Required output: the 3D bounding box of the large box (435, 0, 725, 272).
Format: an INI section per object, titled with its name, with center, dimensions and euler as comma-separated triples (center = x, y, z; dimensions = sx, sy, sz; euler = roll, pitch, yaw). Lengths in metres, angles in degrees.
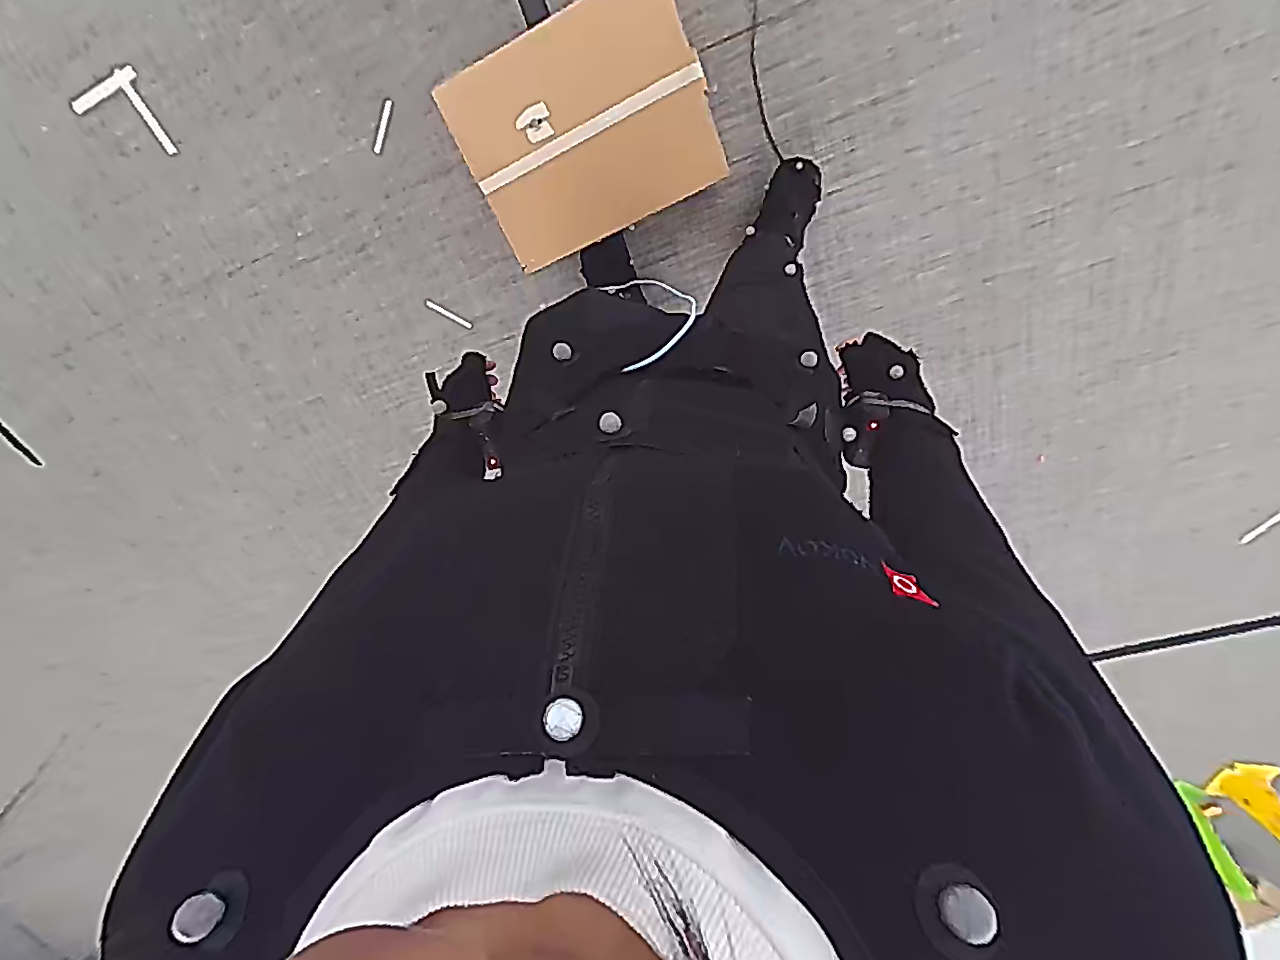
[large box]
center = -0.086, -0.649, 1.022
dimensions = 0.408, 0.320, 0.320
euler = -20, 116, 15
